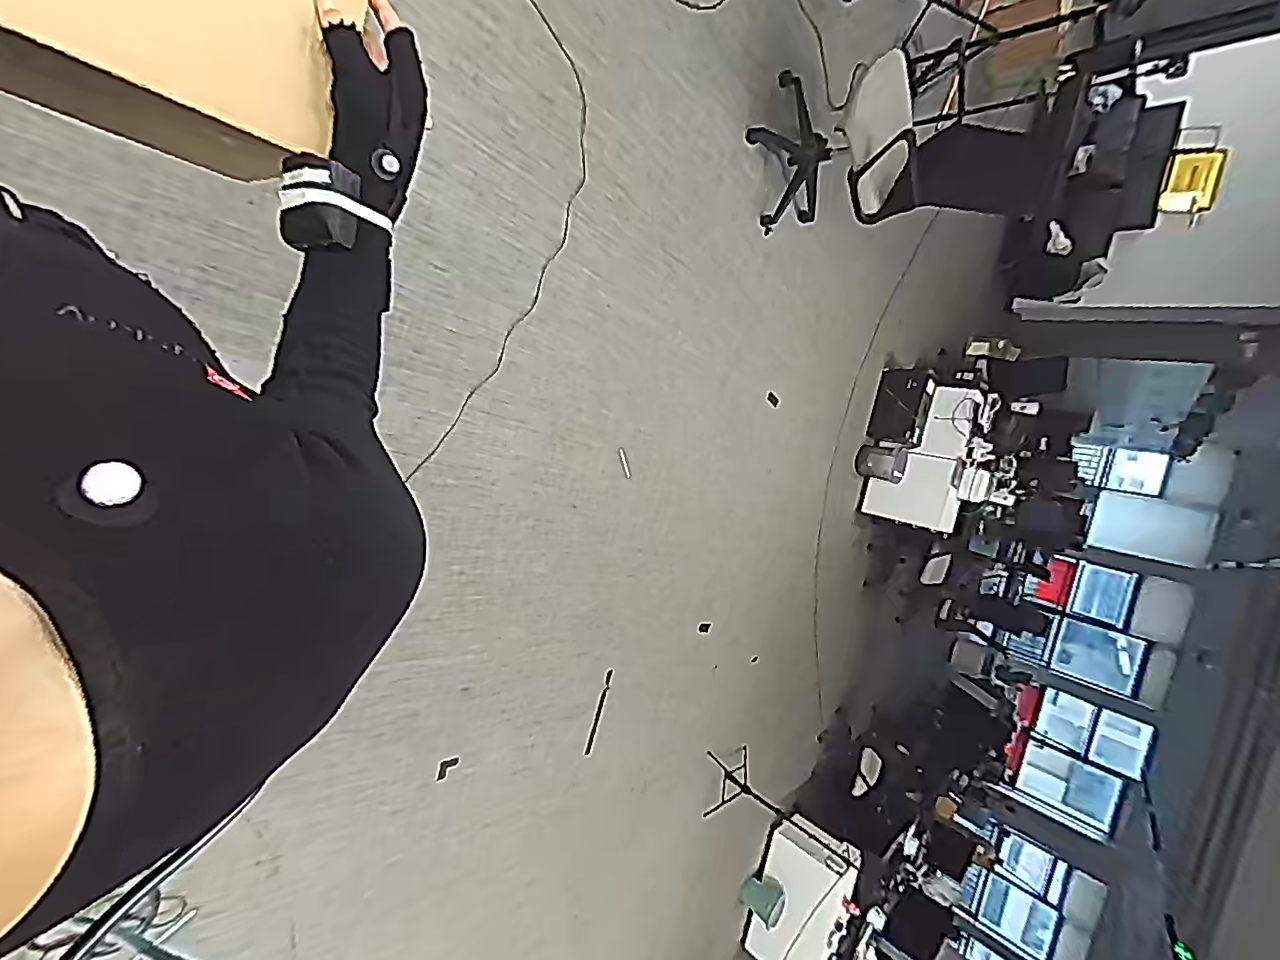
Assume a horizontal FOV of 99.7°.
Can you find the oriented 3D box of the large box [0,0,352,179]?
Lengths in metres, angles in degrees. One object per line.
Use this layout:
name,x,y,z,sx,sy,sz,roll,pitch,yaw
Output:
large box,-0.466,-0.464,0.381,0.408,0.320,0.320,3,106,-49
